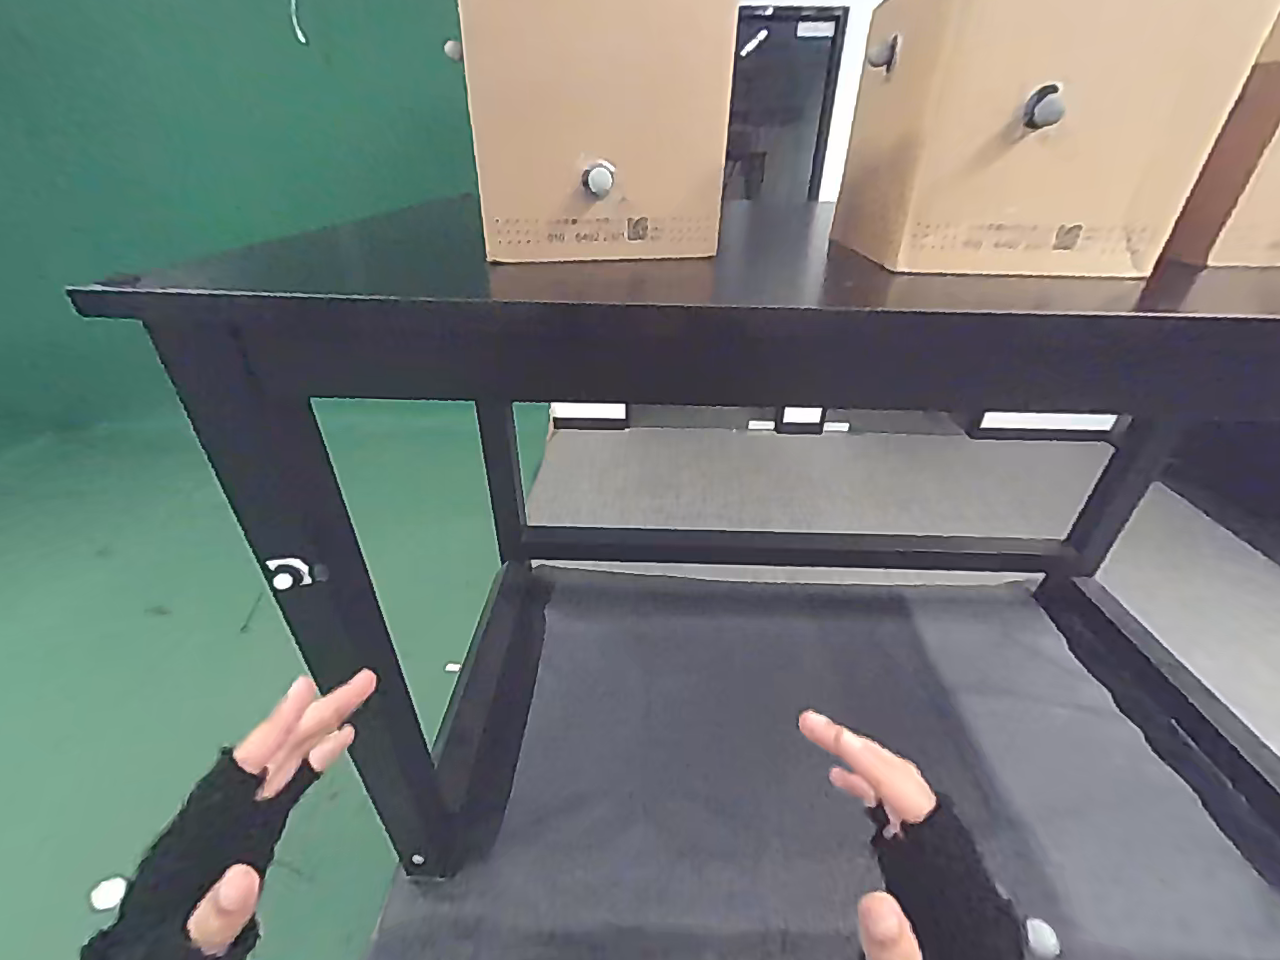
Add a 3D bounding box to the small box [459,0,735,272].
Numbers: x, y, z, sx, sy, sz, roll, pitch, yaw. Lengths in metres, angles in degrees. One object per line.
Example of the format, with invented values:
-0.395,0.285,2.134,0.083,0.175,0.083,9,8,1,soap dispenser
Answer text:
-0.042,-0.264,0.413,0.168,0.176,0.179,-7,34,-12,small box
